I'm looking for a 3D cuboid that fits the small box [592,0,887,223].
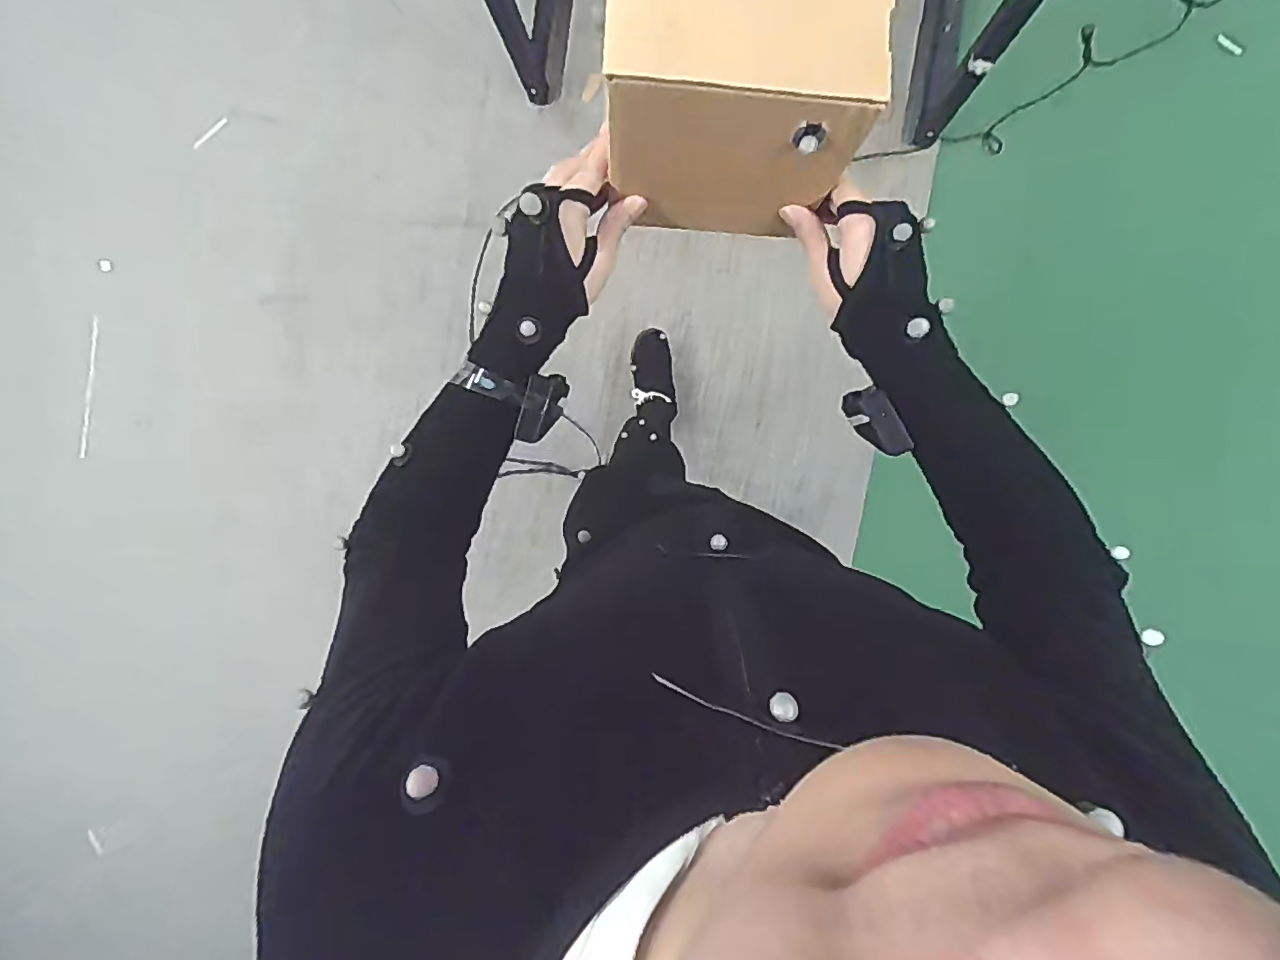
[{"bbox_3d":[0.059,-0.313,0.400,0.179,0.176,0.168,3,88,-3],"label":"small box"}]
